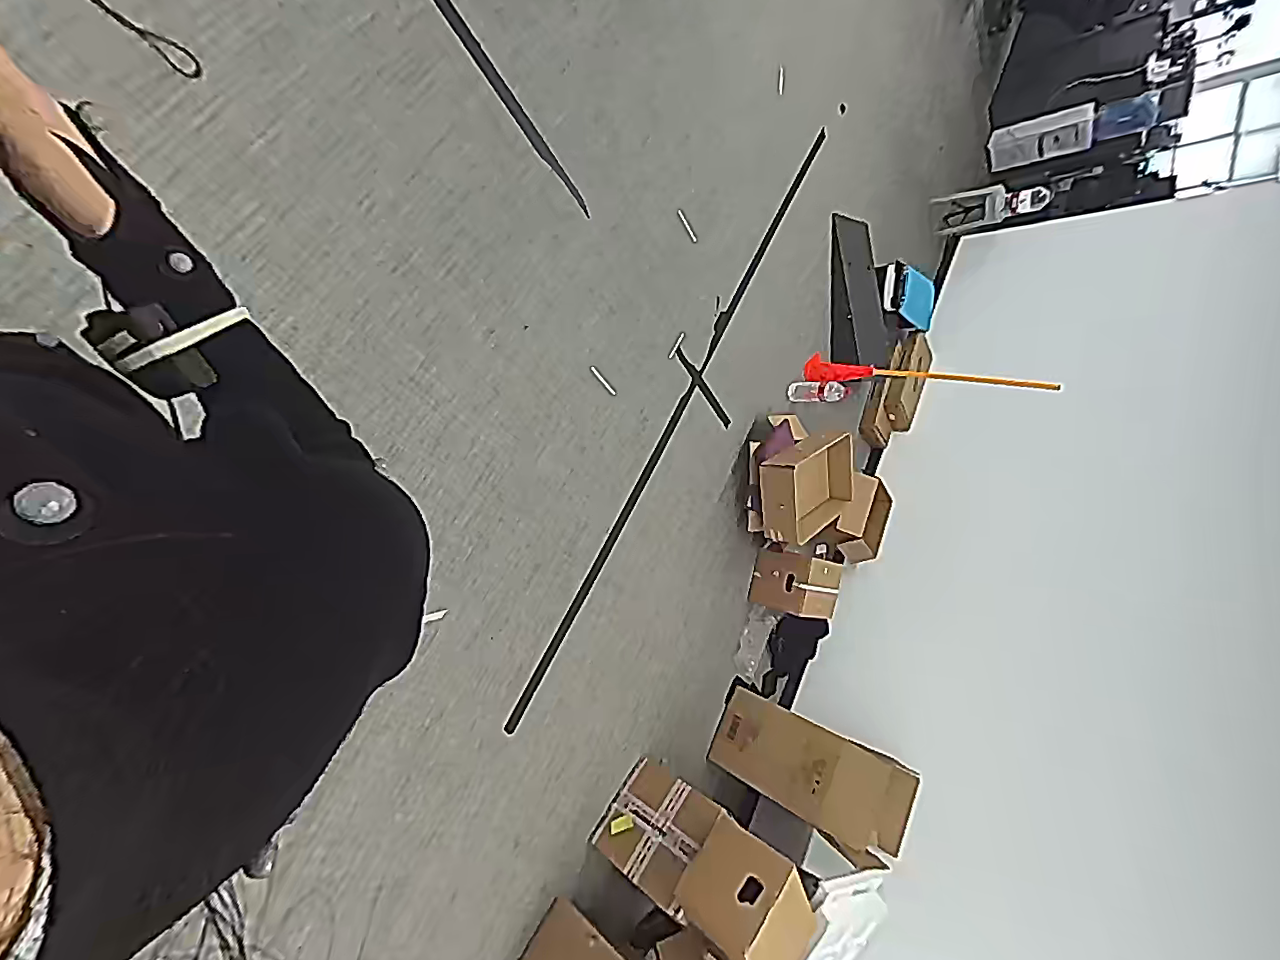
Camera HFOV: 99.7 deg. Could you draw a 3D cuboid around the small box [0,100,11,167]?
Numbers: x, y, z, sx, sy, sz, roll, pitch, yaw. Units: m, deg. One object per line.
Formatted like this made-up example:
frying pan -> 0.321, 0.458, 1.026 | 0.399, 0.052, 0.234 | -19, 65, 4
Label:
small box -> -0.401, -0.212, 0.202 | 0.168, 0.176, 0.179 | -35, 128, -36
